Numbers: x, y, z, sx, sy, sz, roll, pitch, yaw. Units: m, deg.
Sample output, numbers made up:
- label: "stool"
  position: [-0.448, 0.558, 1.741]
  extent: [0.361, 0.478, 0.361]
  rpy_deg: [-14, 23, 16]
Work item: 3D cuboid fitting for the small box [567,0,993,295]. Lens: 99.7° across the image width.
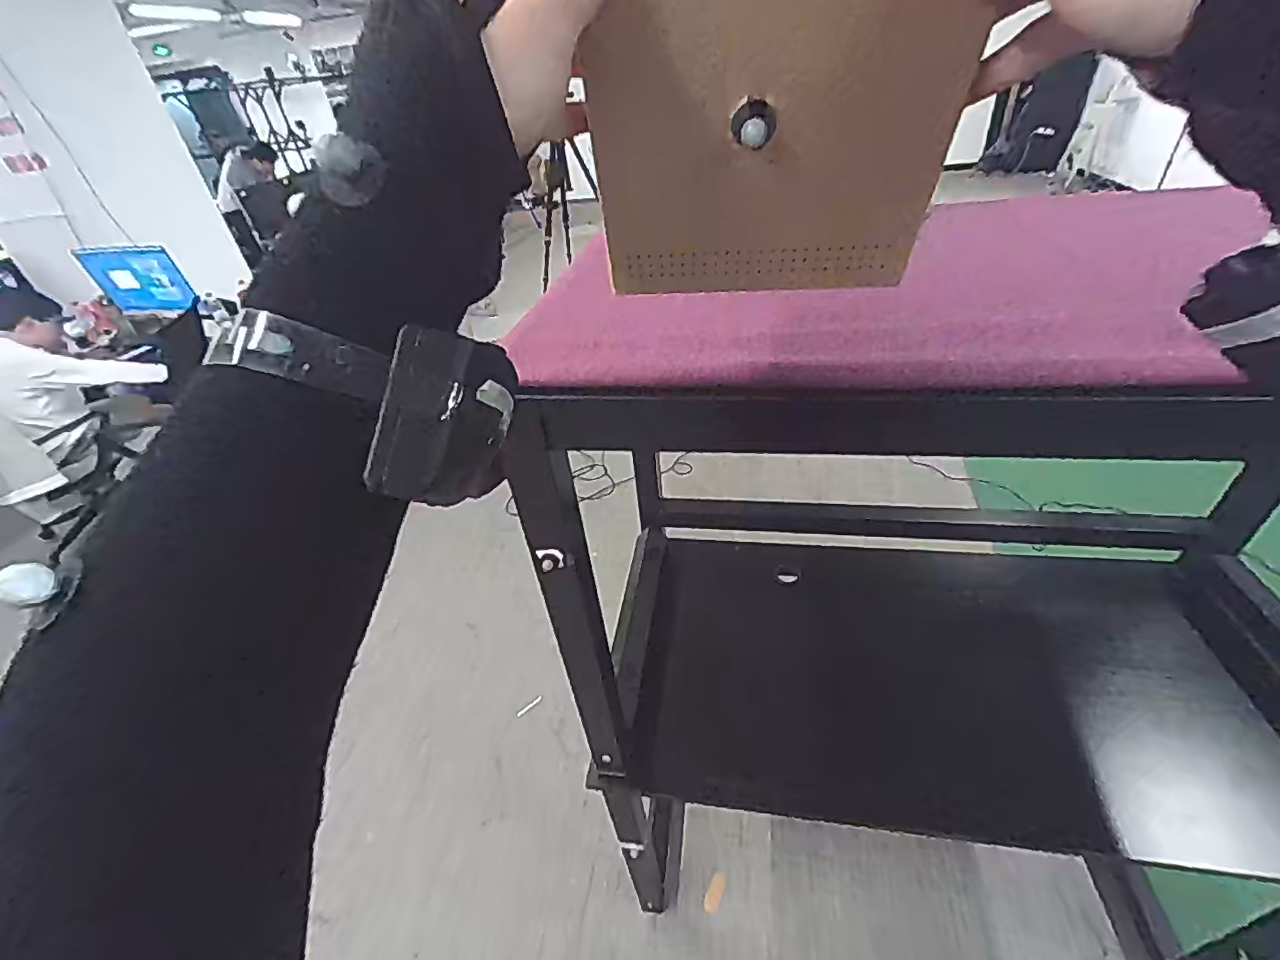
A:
- label: "small box"
  position: [0.067, -0.227, 0.315]
  extent: [0.179, 0.176, 0.168]
  rpy_deg: [0, 54, 7]
